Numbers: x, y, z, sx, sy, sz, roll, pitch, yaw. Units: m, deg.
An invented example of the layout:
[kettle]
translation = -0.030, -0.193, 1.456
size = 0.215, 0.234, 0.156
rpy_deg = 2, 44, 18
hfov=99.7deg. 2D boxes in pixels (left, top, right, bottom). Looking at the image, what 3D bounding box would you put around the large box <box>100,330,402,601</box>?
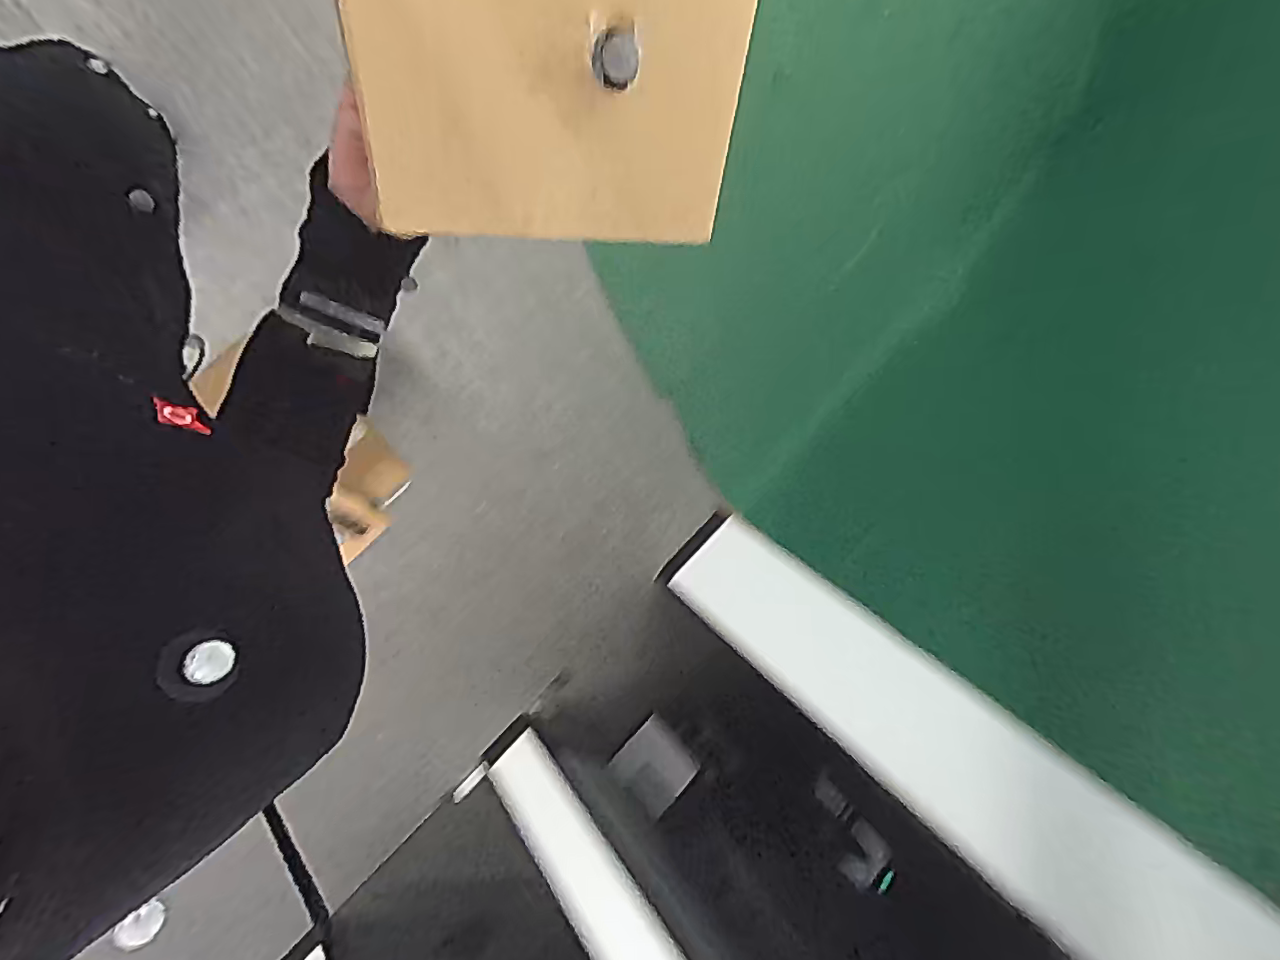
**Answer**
[large box]
translation = -0.803, -0.032, 1.138
size = 0.408, 0.320, 0.320
rpy_deg = -45, 142, -8
